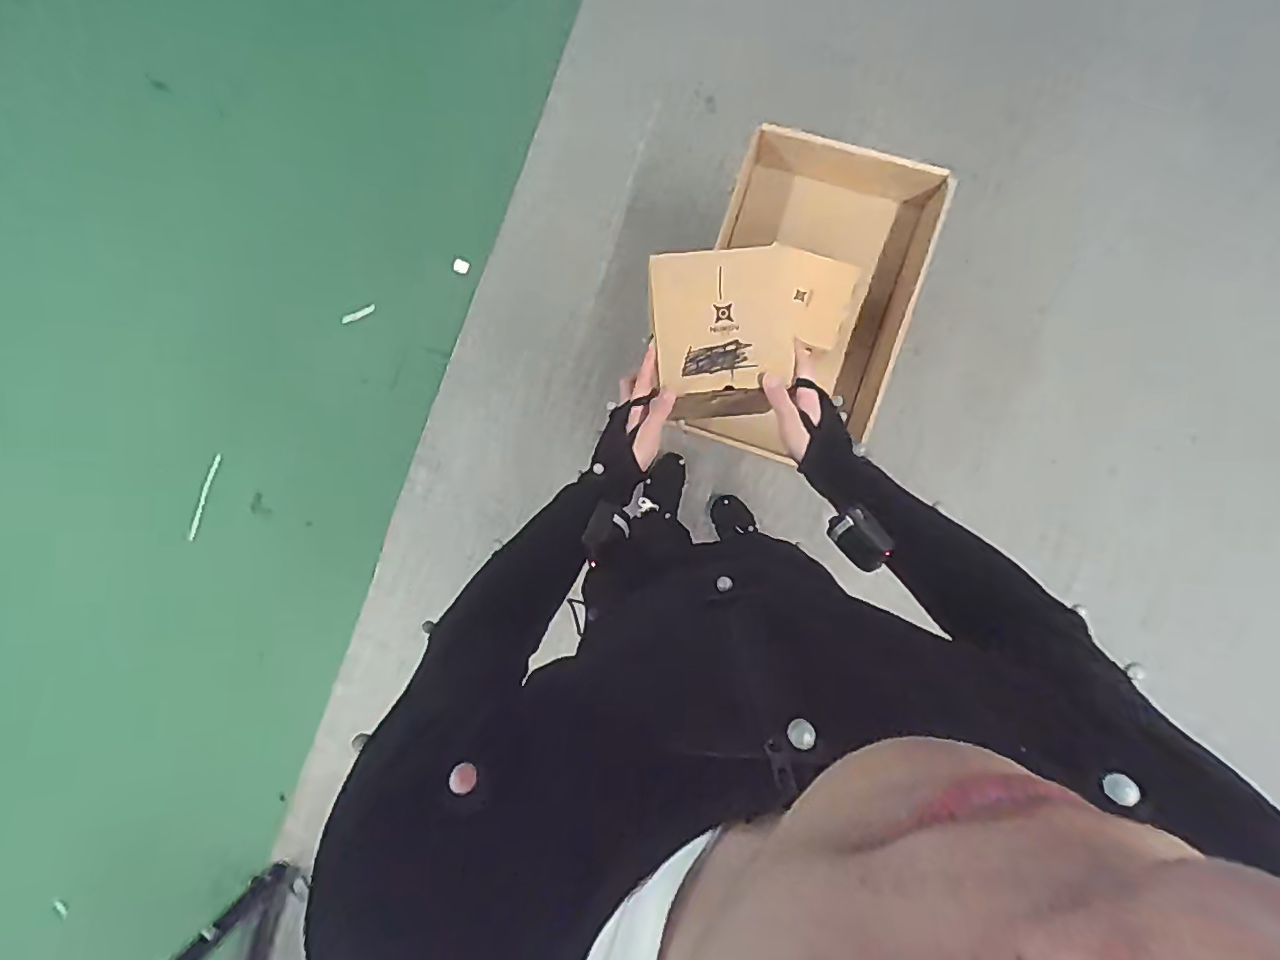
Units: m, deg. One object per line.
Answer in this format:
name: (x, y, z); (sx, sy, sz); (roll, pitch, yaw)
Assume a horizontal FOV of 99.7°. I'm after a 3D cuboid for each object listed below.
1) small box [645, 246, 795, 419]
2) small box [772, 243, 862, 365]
small box: (0.095, -0.180, 0.716); (0.168, 0.176, 0.179); (-5, 85, -1)
small box: (0.315, -0.345, 1.096); (0.179, 0.176, 0.168); (19, 93, 5)
